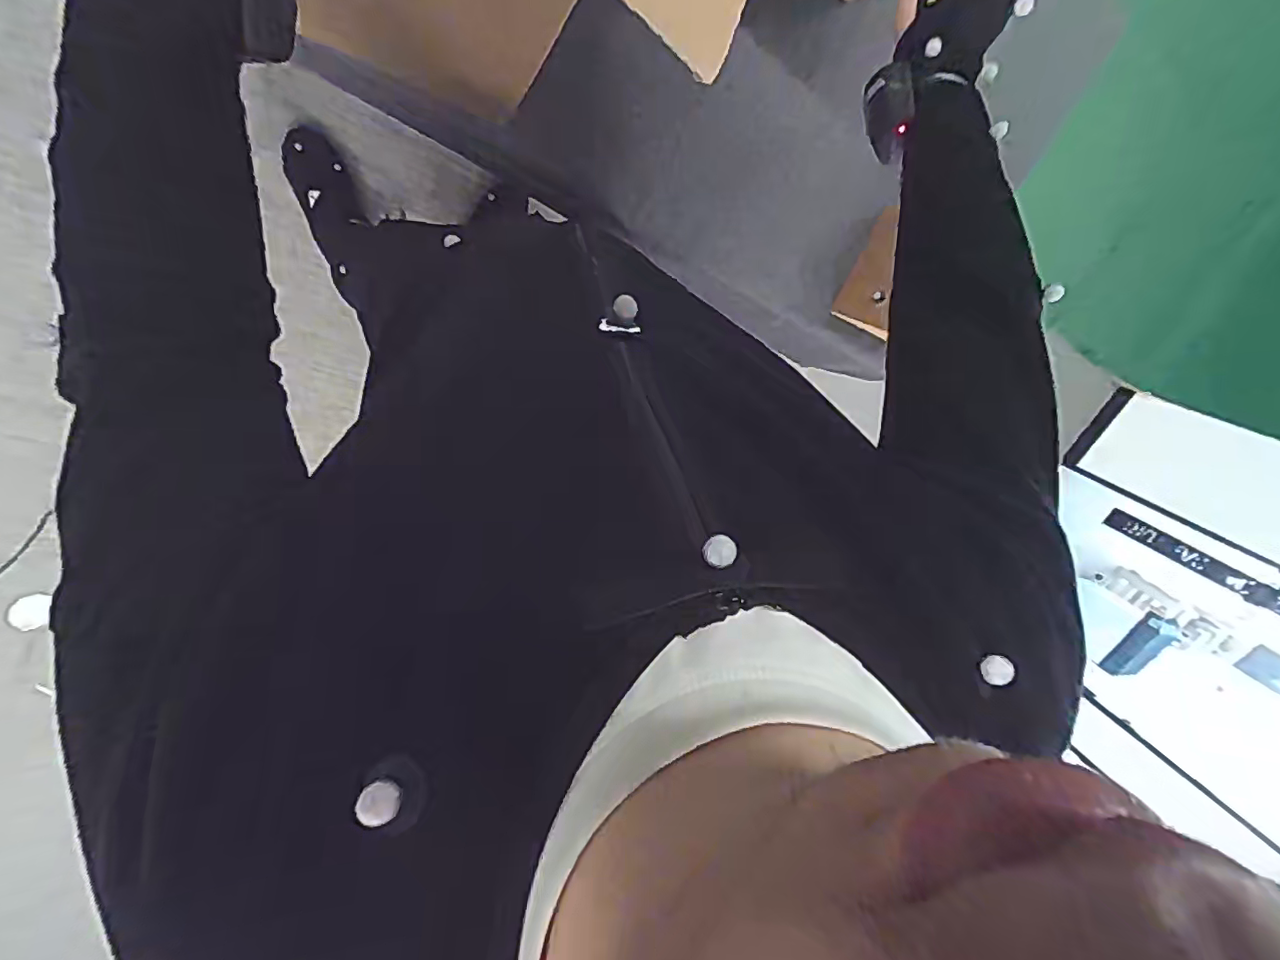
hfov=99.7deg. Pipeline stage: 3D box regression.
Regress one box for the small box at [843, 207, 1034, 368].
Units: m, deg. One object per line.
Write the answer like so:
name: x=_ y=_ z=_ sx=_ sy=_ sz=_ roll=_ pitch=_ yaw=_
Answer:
small box: x=0.454 y=-0.305 z=0.853 sx=0.168 sy=0.176 sz=0.179 roll=12 pitch=114 yaw=-31
